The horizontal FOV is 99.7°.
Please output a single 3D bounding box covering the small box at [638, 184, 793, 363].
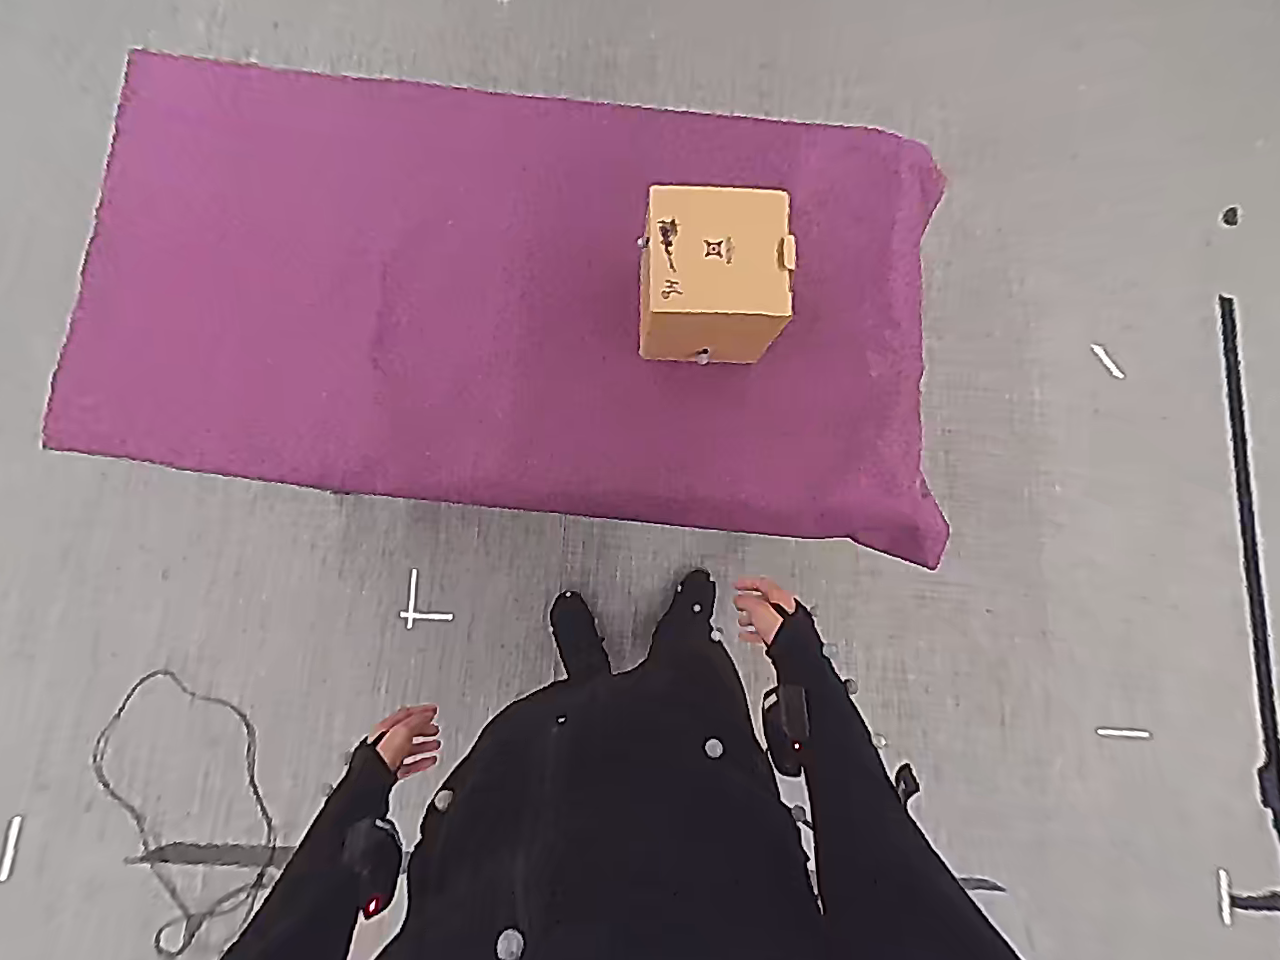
[{"bbox_3d":[0.093,-0.266,0.732,0.179,0.176,0.168,1,82,-4],"label":"small box"}]
